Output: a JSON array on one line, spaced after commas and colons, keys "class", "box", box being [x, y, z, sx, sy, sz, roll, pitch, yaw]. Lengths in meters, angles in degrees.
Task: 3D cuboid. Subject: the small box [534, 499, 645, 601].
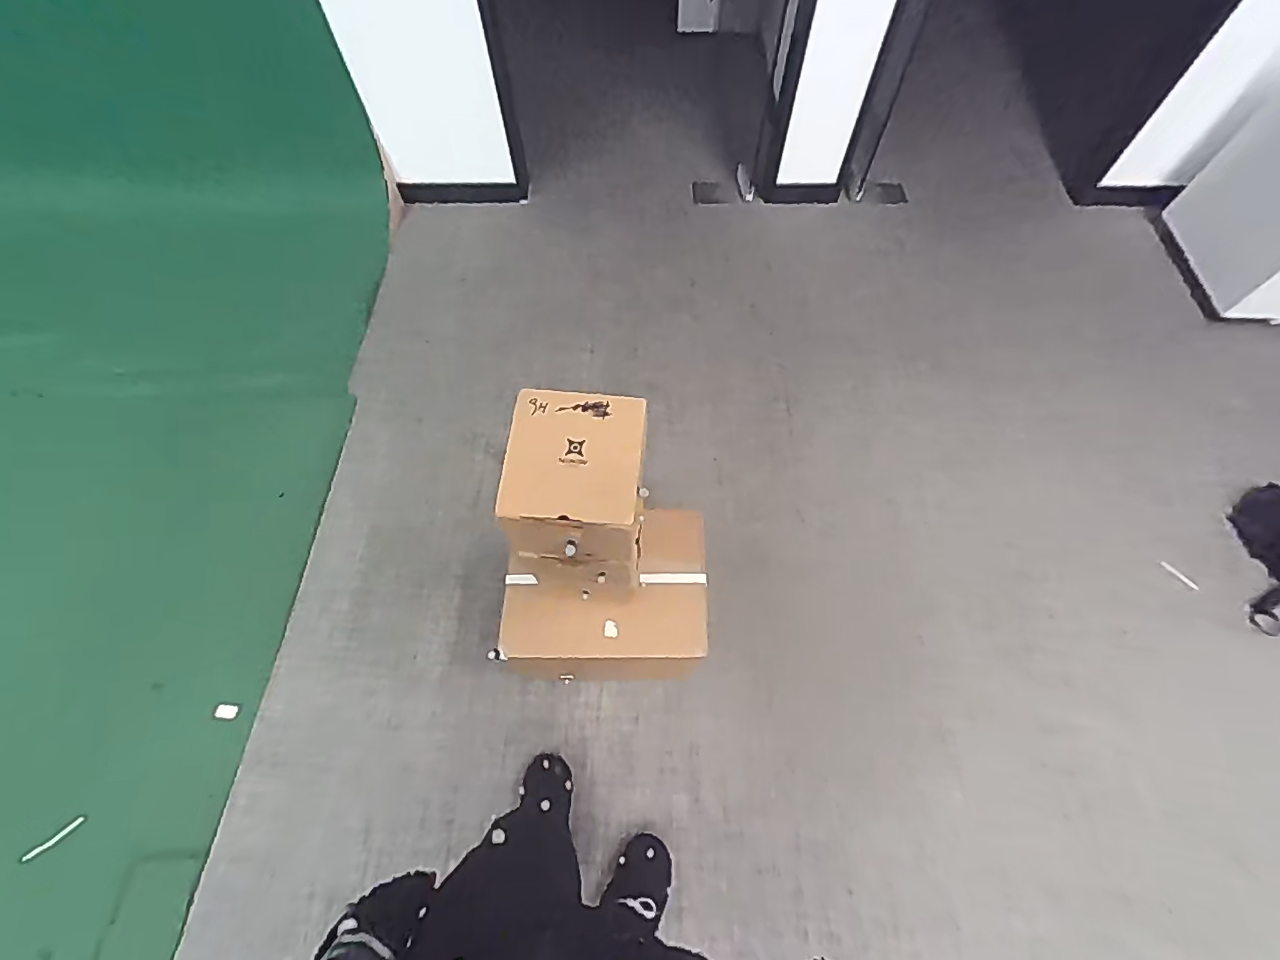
[{"class": "small box", "box": [-0.088, 0.129, 1.035, 0.179, 0.176, 0.168, 7, 66, 3]}]

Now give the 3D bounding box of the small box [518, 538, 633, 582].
[{"class": "small box", "box": [-0.092, 0.065, 0.889, 0.168, 0.176, 0.179, 3, 67, 0]}]

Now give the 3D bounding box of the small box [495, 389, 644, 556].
[{"class": "small box", "box": [-0.083, -0.001, 0.740, 0.168, 0.176, 0.179, 5, 69, 1]}]
